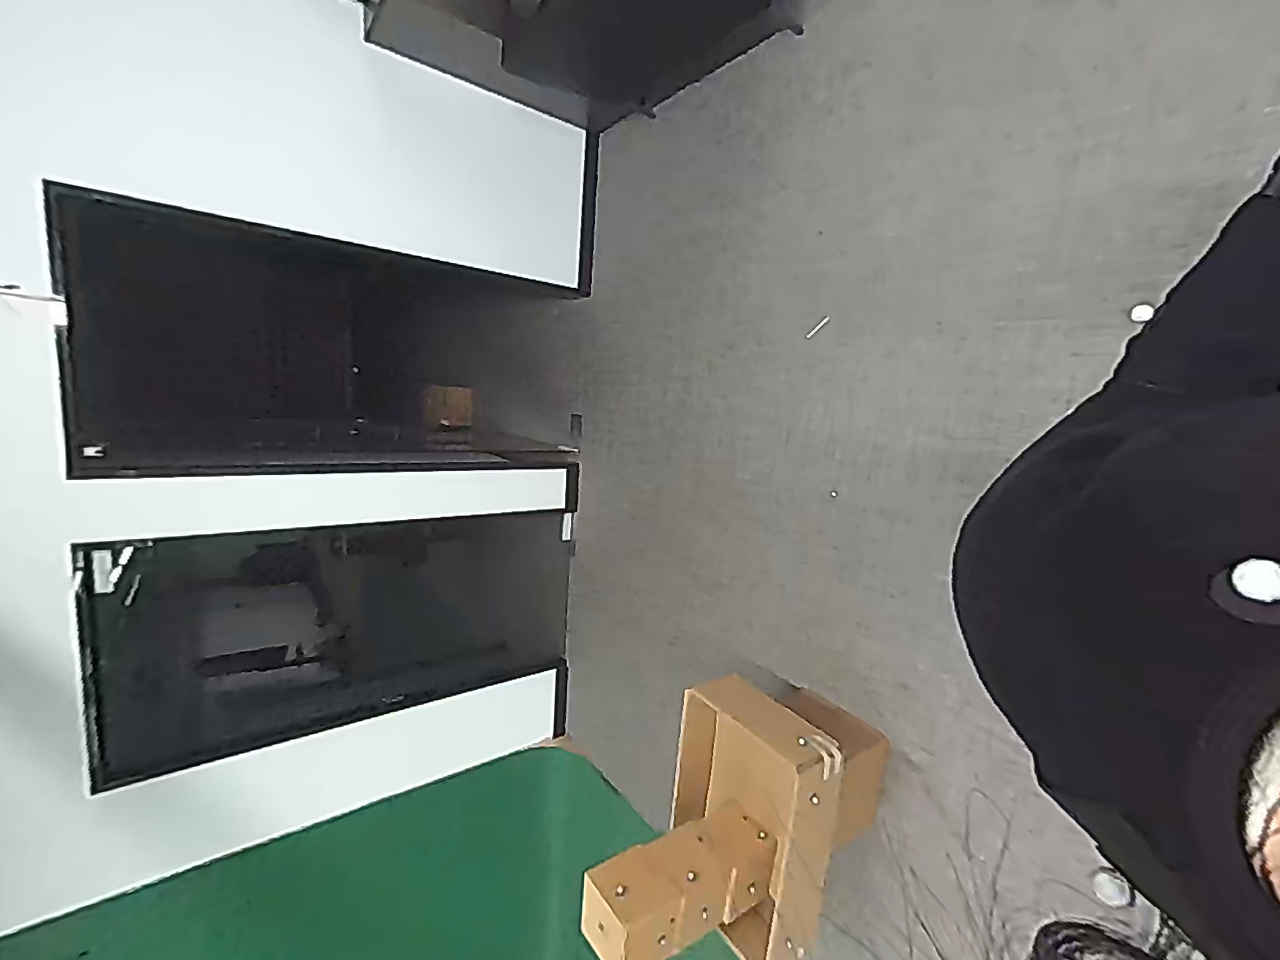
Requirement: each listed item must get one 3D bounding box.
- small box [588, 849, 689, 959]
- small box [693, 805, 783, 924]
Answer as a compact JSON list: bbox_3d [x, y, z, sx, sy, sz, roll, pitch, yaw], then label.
[{"bbox_3d":[-0.005,1.040,1.310,0.179,0.176,0.168,16,104,53],"label":"small box"},{"bbox_3d":[0.271,1.041,1.484,0.168,0.176,0.179,20,107,52],"label":"small box"}]
